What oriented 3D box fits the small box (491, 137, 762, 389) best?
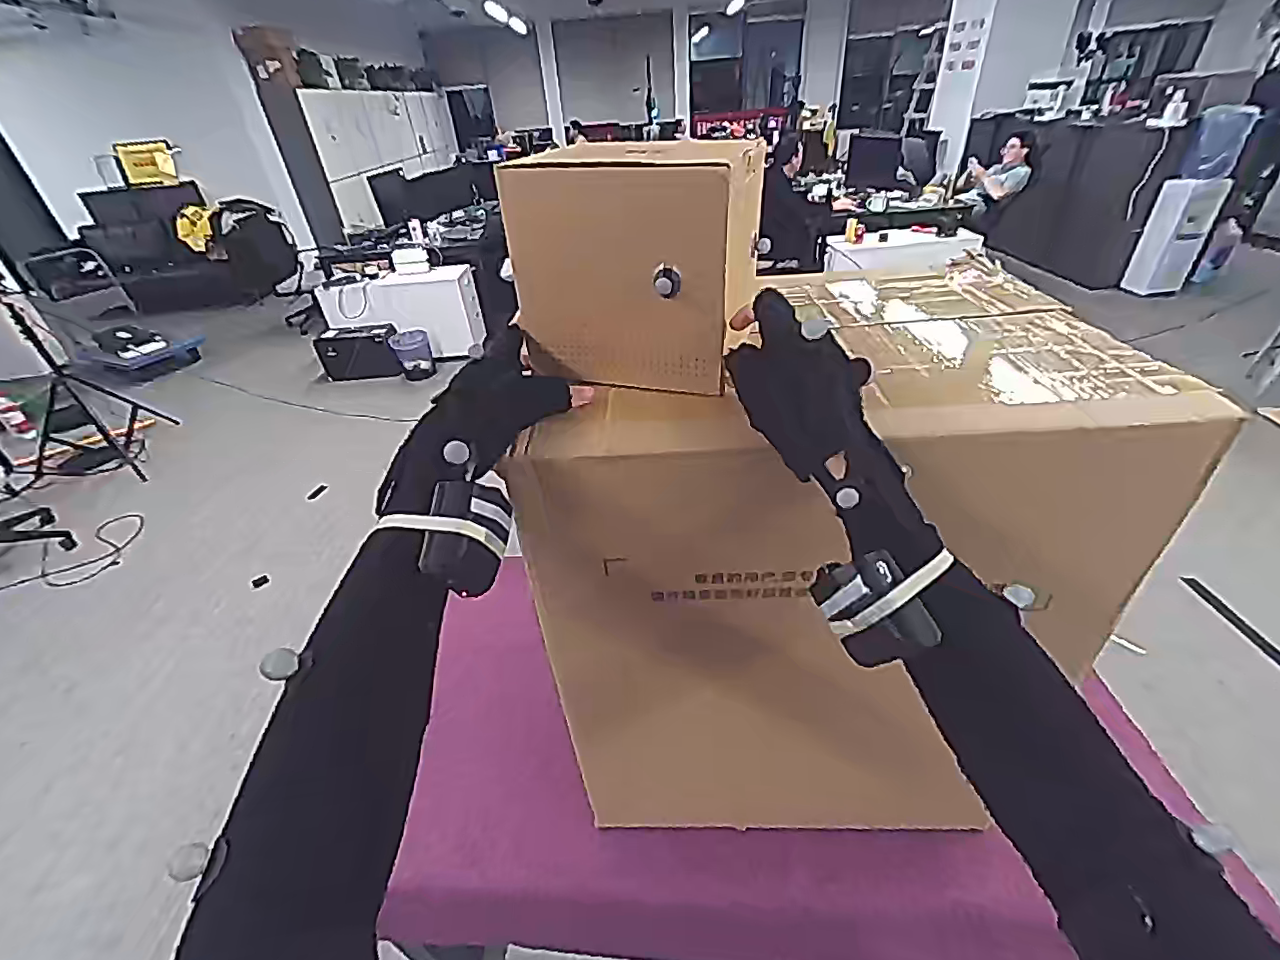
[{"bbox_3d":[0.002,-0.191,0.473,0.179,0.176,0.168,8,37,17],"label":"small box"}]
